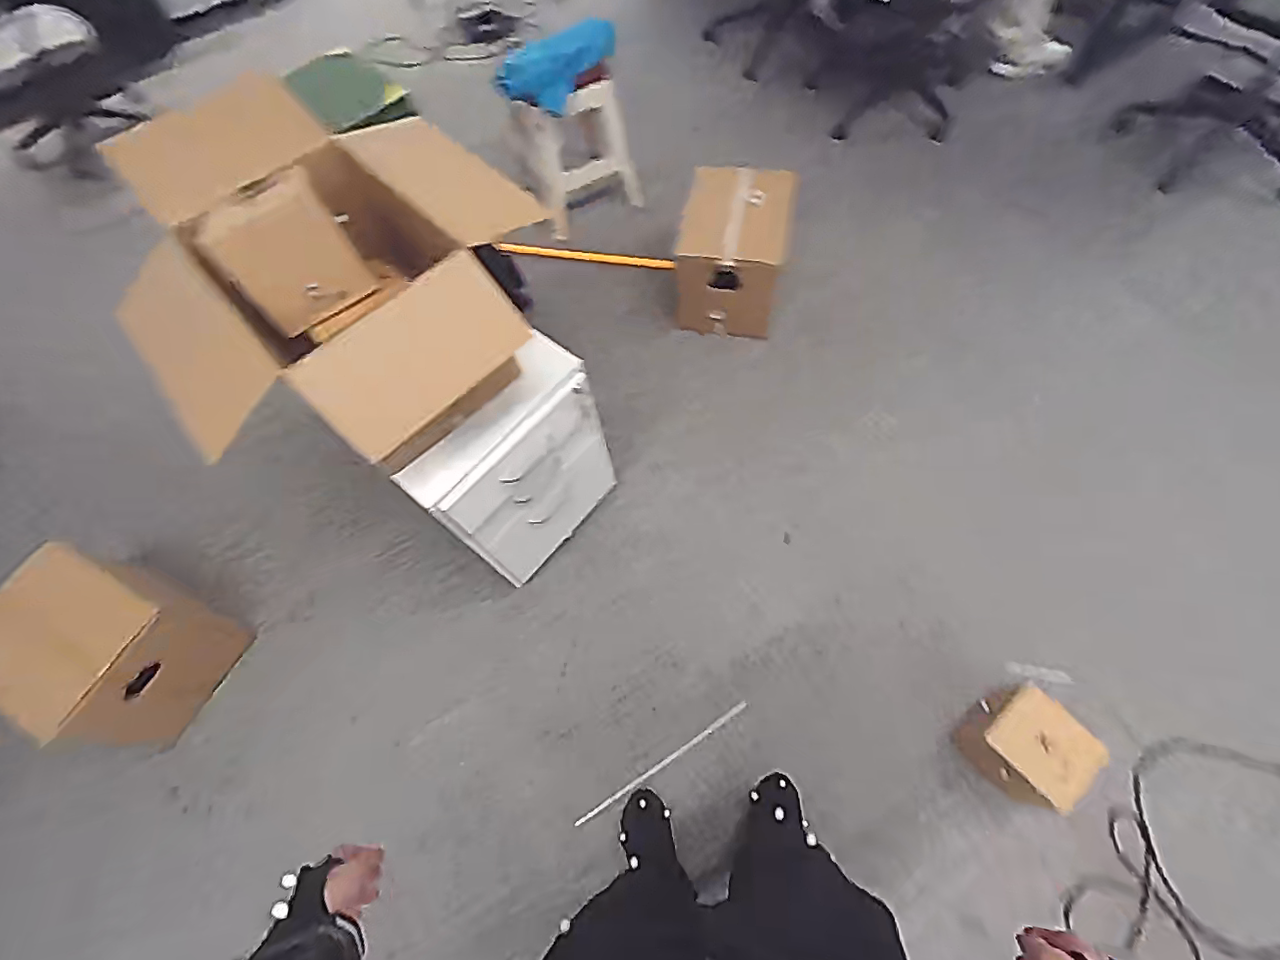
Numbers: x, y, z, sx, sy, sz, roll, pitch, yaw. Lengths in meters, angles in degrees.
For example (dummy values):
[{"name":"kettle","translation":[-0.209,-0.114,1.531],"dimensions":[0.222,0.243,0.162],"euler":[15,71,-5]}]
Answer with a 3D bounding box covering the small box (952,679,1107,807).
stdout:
[{"name":"small box","translation":[0.810,0.555,1.147],"dimensions":[0.168,0.176,0.179],"euler":[-40,68,-13]}]
